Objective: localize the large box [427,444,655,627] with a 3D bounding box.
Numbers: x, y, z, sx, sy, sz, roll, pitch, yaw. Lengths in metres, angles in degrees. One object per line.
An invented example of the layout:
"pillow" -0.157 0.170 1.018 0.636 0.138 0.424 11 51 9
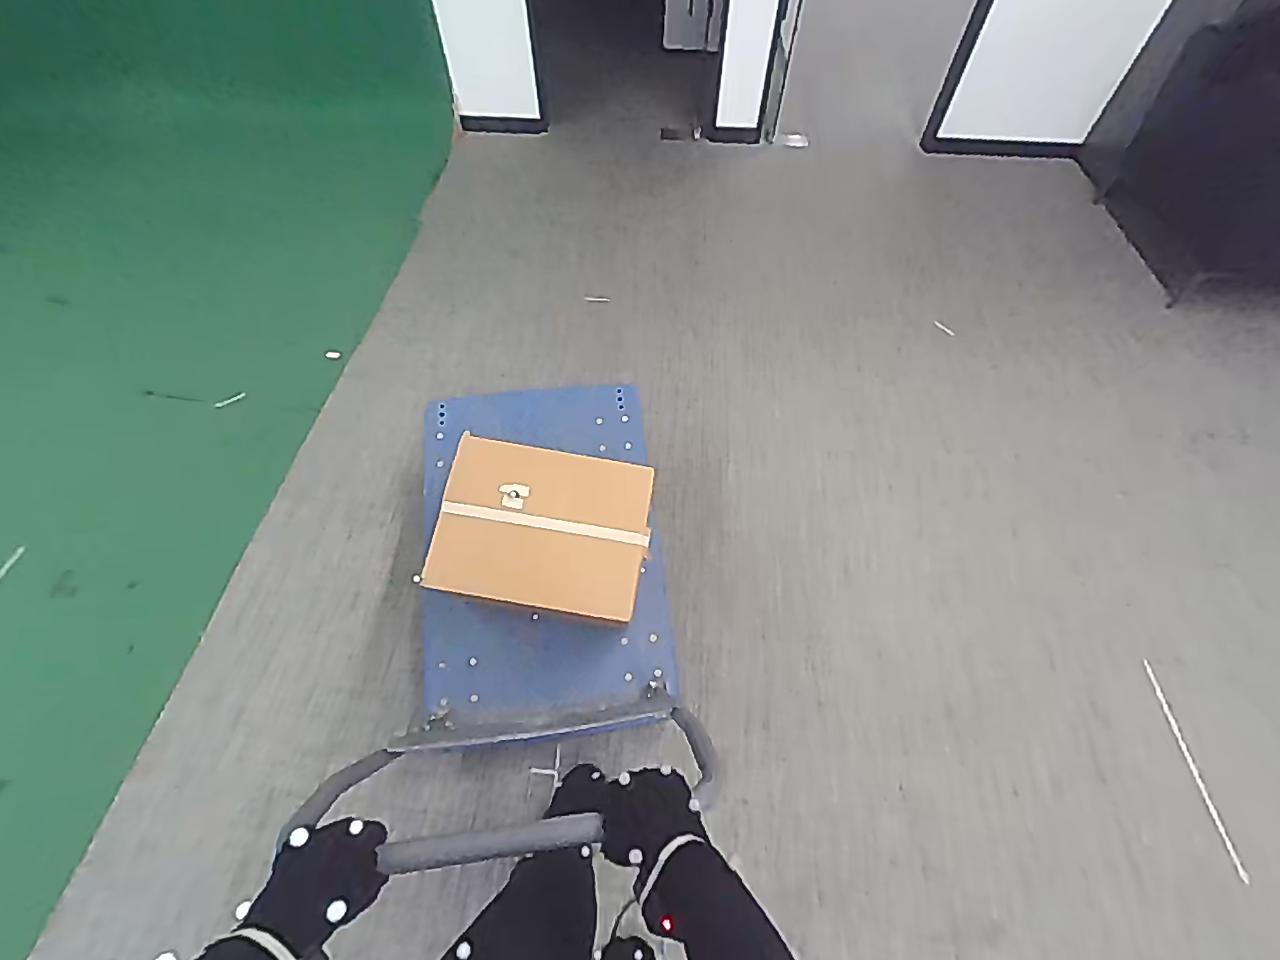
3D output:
"large box" -0.186 0.141 1.197 0.408 0.320 0.320 9 72 2
